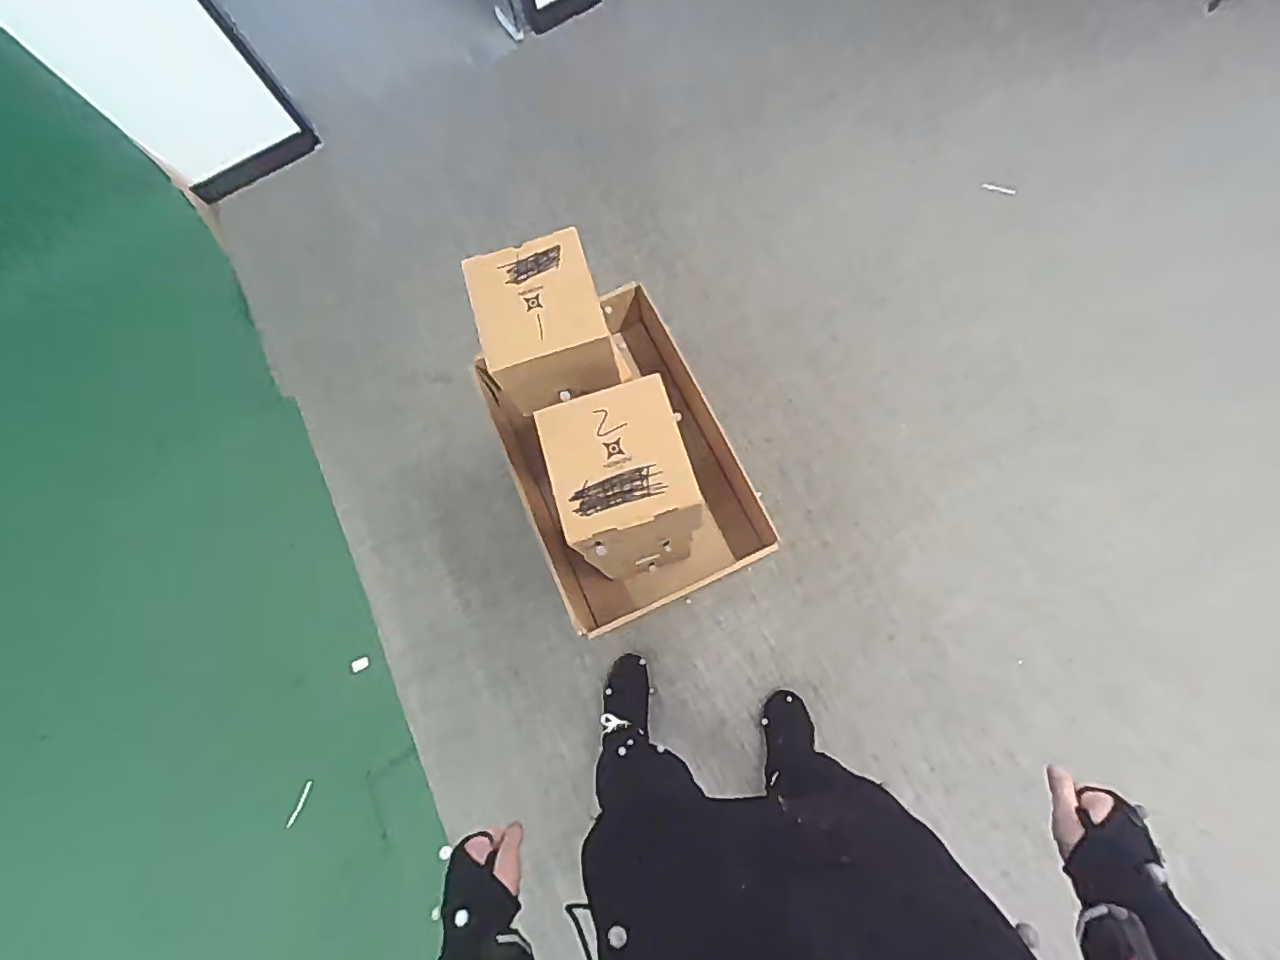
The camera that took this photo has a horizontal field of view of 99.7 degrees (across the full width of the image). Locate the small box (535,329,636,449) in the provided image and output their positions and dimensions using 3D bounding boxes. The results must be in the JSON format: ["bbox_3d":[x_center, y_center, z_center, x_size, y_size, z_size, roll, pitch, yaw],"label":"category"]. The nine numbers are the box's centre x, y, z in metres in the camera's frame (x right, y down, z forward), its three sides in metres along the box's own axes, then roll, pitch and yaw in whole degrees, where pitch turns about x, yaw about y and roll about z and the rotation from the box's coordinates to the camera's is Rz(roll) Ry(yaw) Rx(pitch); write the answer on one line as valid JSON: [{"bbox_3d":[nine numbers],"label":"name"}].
[{"bbox_3d":[-0.118,-0.179,0.954,0.168,0.176,0.179,-26,76,-2],"label":"small box"}]

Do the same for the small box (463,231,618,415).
[{"bbox_3d":[-0.138,-0.220,0.797,0.168,0.176,0.179,-17,76,1],"label":"small box"}]

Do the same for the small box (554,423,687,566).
[{"bbox_3d":[-0.024,0.034,0.884,0.168,0.176,0.179,-18,73,0],"label":"small box"}]
